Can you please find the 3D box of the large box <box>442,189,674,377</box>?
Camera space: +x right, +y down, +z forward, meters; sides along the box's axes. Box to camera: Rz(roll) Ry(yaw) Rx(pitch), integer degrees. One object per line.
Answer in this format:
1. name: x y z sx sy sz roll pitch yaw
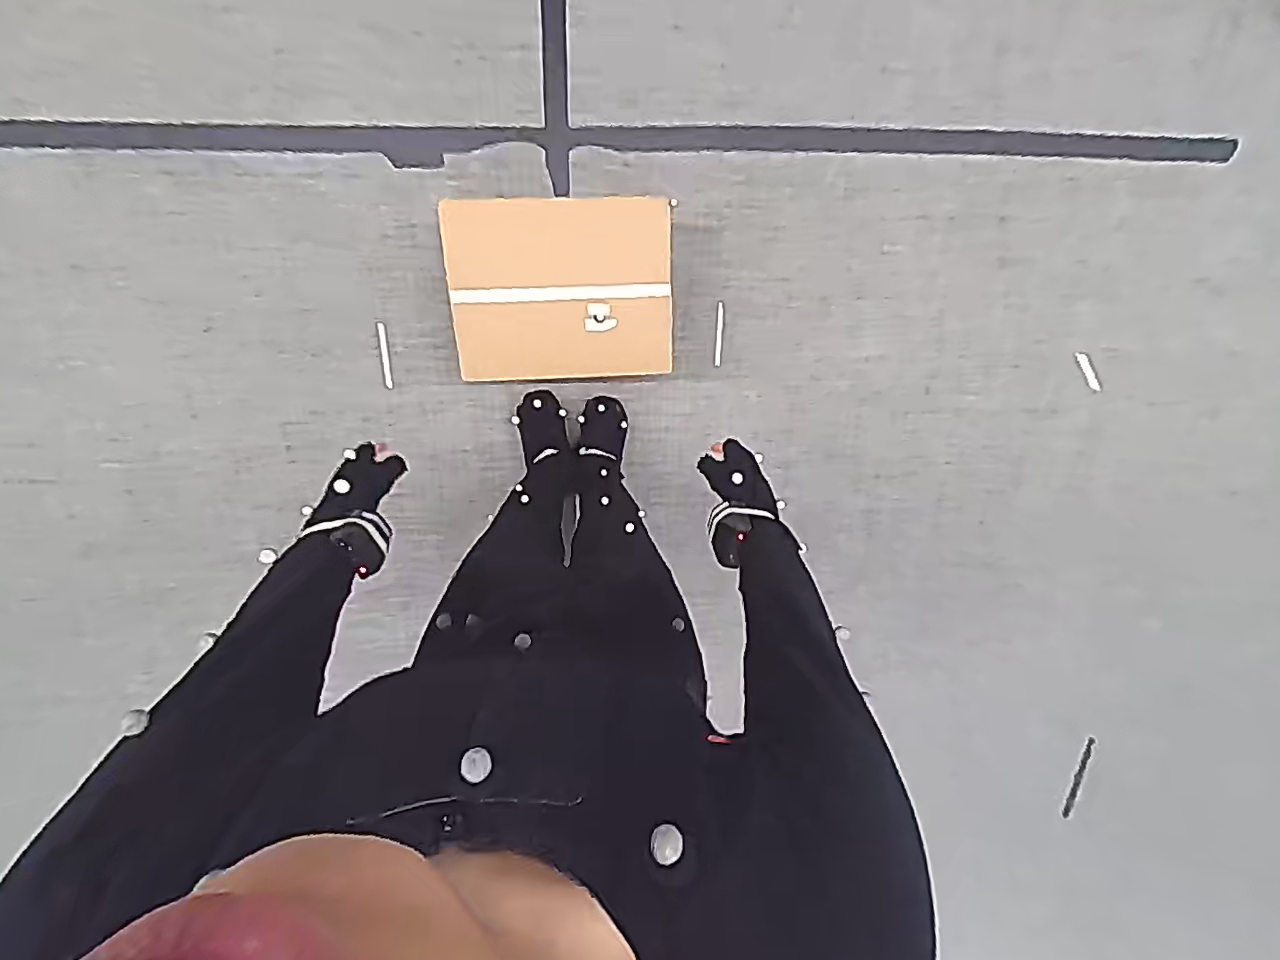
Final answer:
1. large box: -0.153 -0.403 1.125 0.408 0.320 0.320 -4 111 -5
